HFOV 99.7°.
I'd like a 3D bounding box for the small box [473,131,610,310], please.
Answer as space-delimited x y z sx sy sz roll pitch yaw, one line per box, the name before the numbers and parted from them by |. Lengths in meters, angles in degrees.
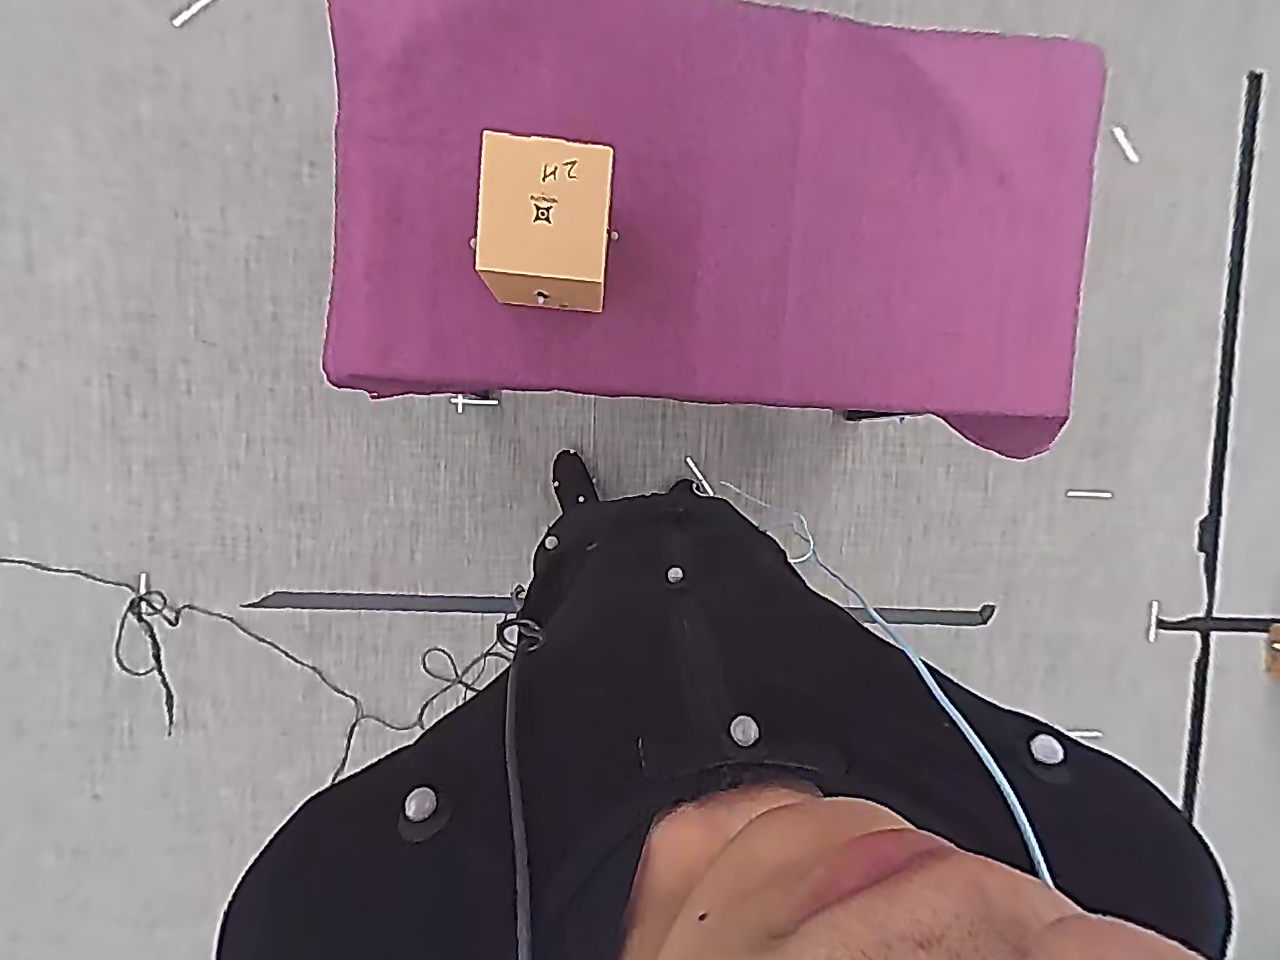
small box | -0.131 -0.352 0.769 0.168 0.176 0.179 4 94 -5
